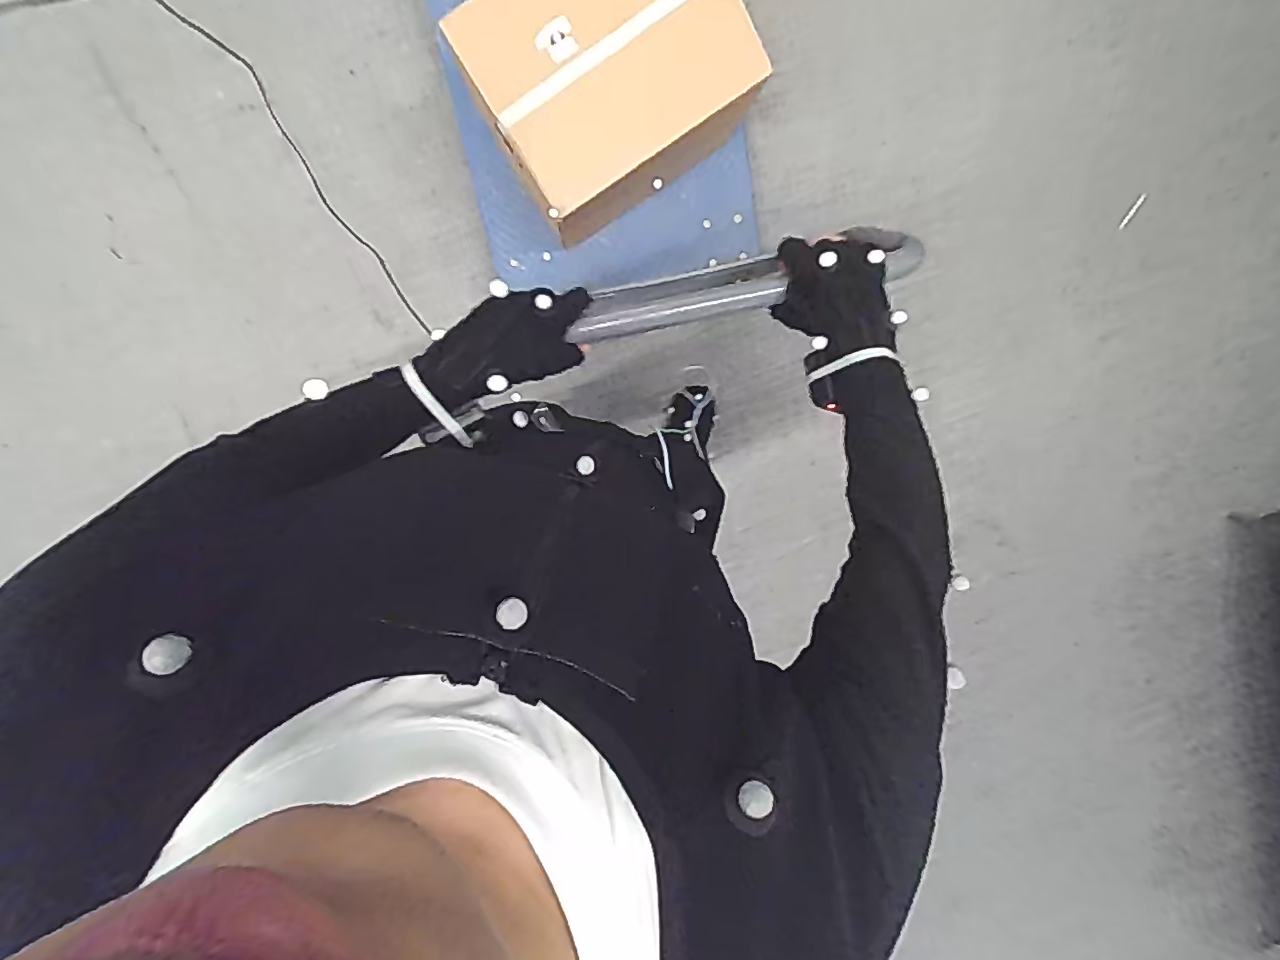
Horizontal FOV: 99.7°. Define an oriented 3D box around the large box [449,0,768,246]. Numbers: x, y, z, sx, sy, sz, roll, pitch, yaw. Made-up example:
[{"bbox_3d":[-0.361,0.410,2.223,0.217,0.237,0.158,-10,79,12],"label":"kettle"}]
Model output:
[{"bbox_3d":[-0.053,-0.689,0.968,0.408,0.320,0.320,-33,104,4],"label":"large box"}]
